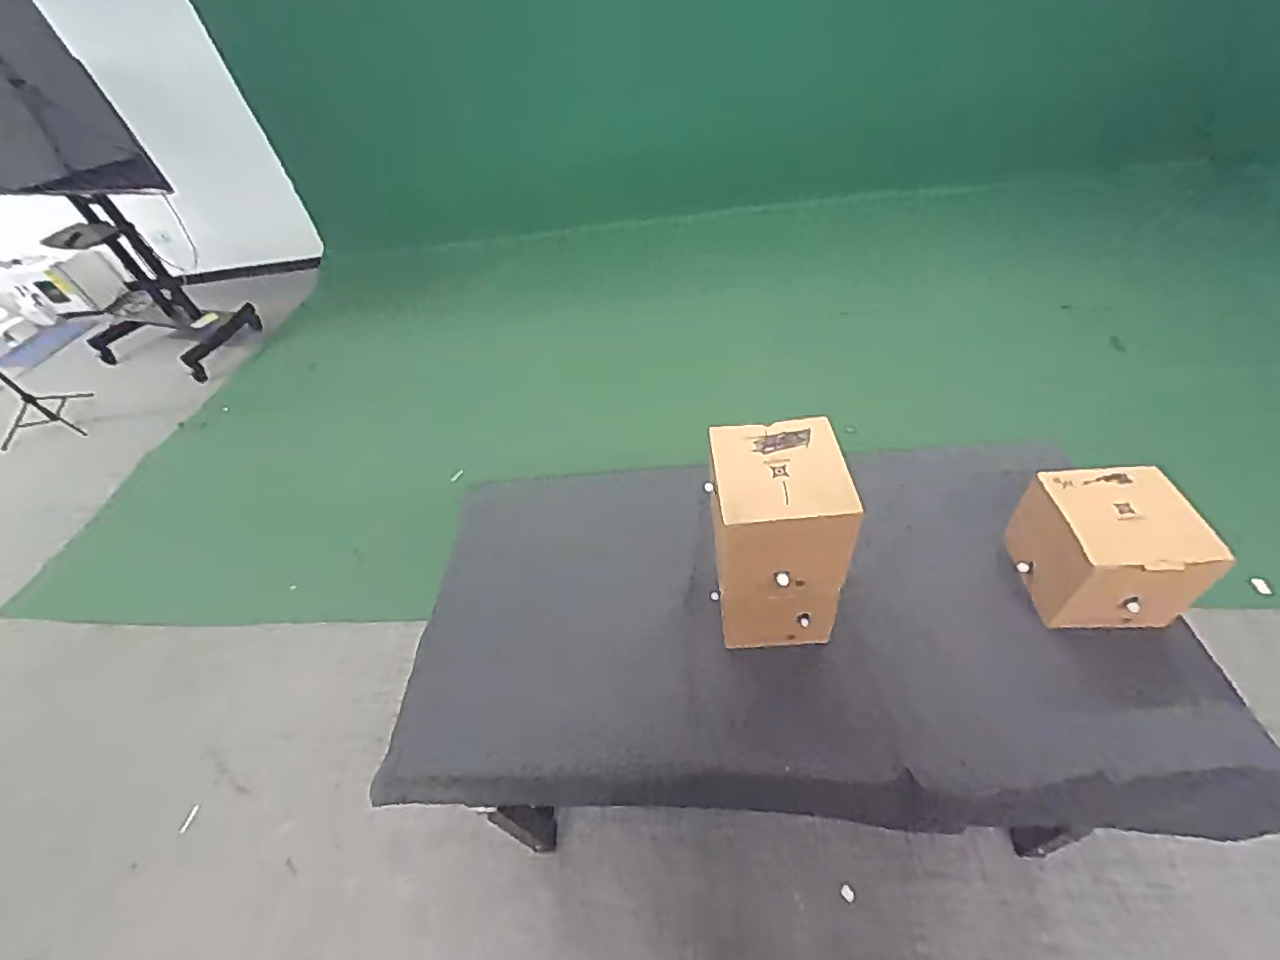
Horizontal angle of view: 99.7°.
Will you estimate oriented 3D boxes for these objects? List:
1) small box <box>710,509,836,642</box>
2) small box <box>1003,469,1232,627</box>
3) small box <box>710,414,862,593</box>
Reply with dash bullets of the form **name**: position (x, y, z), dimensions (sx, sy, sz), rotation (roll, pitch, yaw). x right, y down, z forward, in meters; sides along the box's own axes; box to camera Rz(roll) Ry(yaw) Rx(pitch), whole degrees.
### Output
- **small box**: position (0.202, 0.145, 0.860), dimensions (0.168, 0.176, 0.179), rotation (-4, 45, 5)
- **small box**: position (0.684, 0.106, 0.805), dimensions (0.168, 0.176, 0.179), rotation (-3, 47, 8)
- **small box**: position (0.184, 0.033, 0.741), dimensions (0.168, 0.176, 0.179), rotation (-5, 47, 4)
